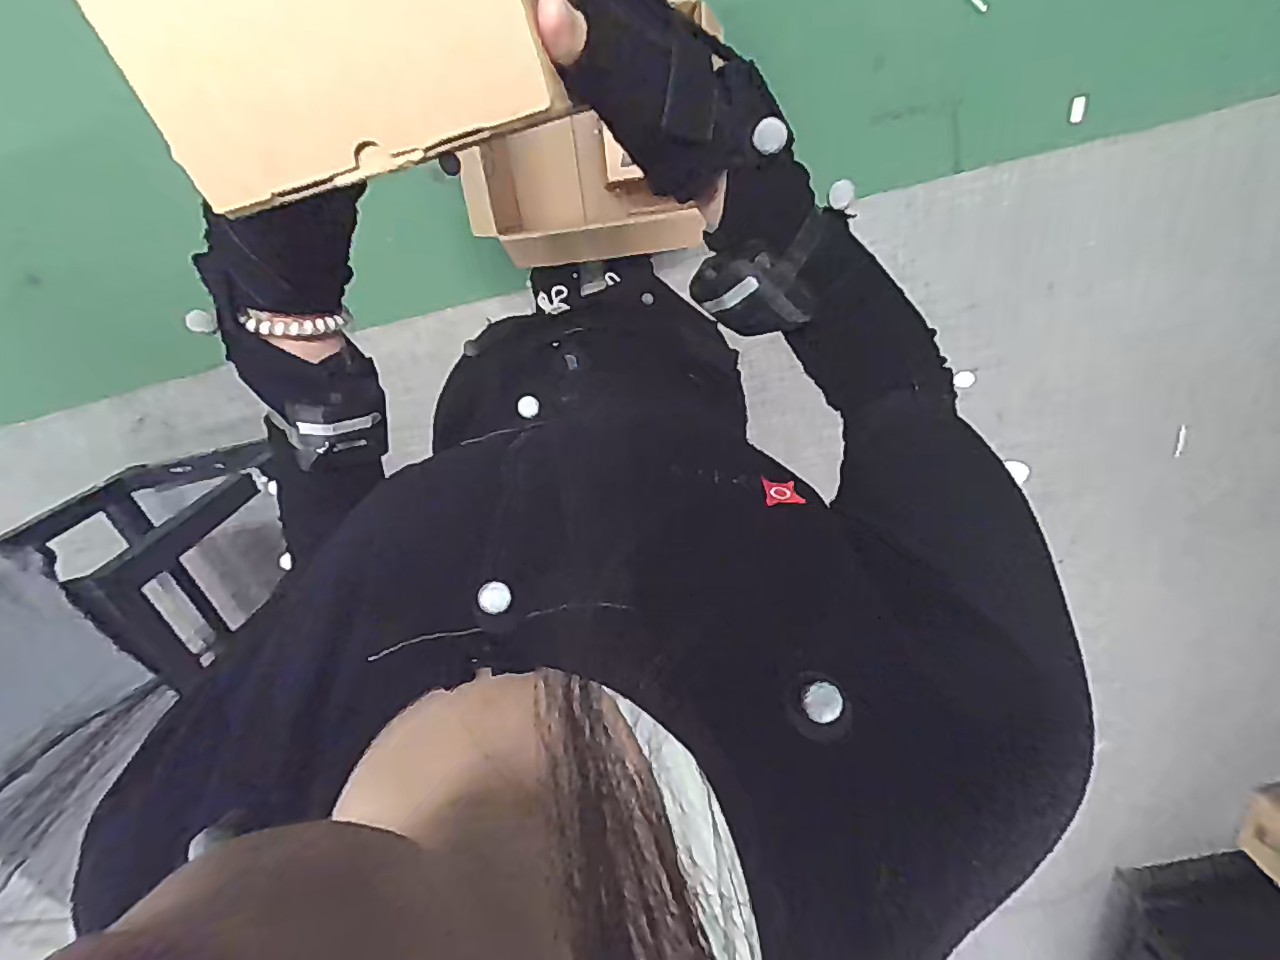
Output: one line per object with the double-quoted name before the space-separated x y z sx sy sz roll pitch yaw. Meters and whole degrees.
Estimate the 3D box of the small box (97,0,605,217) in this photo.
"small box" -0.122 -0.248 0.246 0.168 0.176 0.179 -10 127 11
